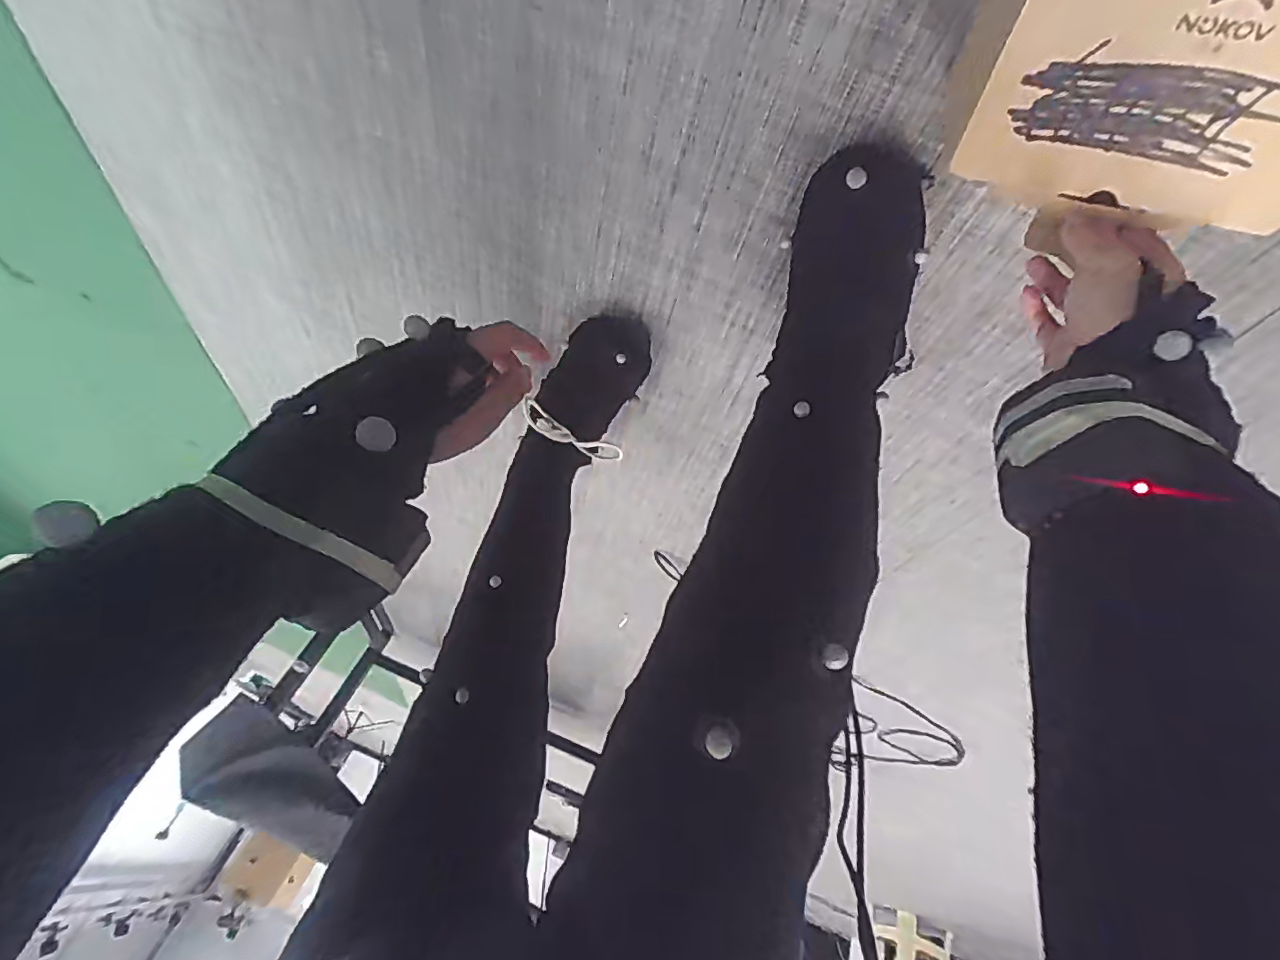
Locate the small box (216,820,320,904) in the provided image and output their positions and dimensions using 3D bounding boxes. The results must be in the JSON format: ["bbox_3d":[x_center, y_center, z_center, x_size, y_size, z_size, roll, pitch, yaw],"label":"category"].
[{"bbox_3d":[-1.139,1.174,1.671,0.168,0.176,0.179,20,145,8],"label":"small box"}]
